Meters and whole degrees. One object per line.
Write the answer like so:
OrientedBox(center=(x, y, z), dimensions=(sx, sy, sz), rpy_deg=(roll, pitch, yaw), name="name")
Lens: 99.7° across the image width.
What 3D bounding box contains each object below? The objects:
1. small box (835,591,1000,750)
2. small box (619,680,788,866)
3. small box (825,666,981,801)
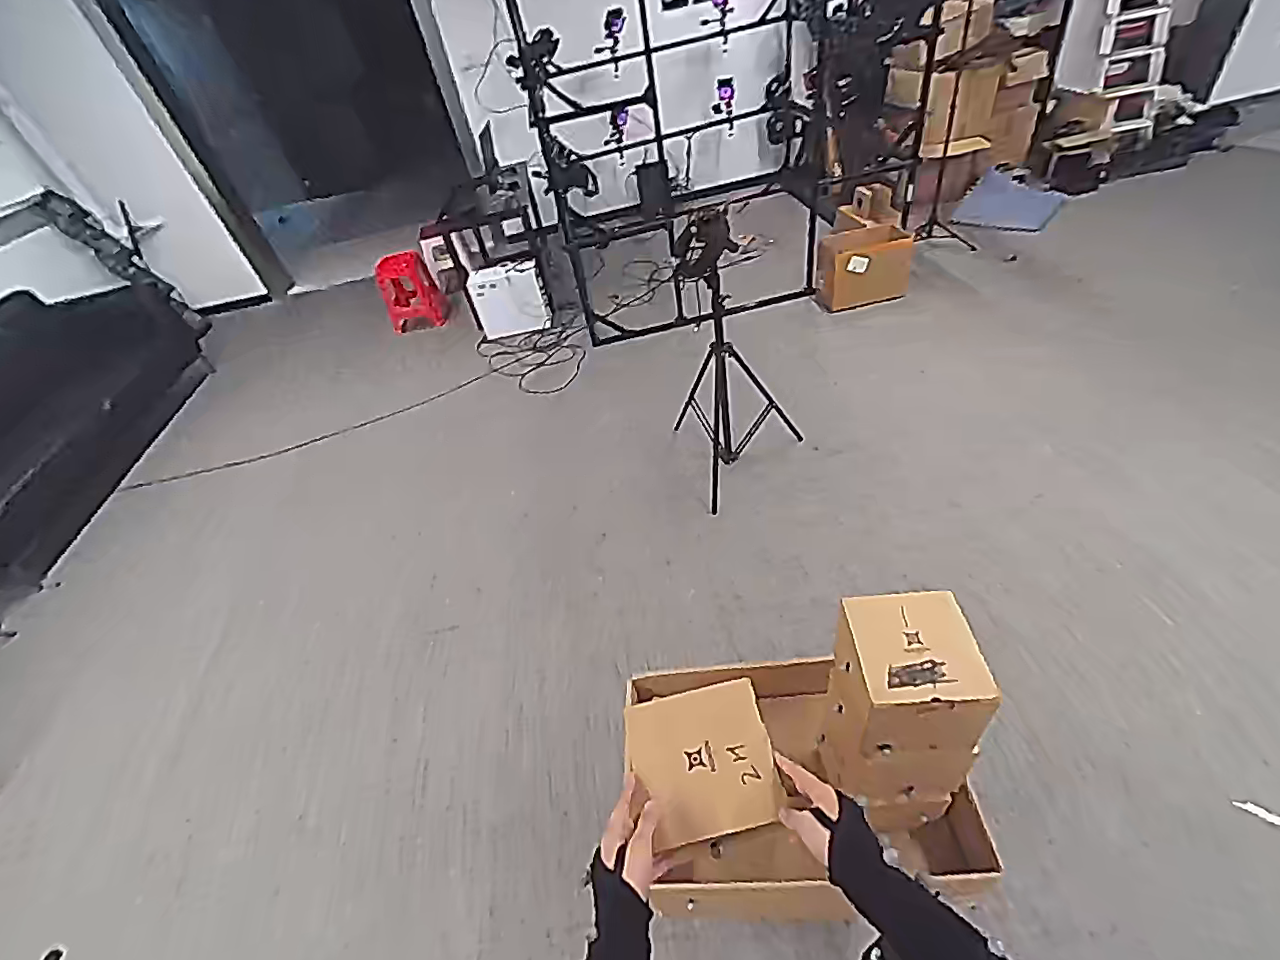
OrientedBox(center=(0.401, 0.292, 0.817), dimensions=(0.168, 0.176, 0.179), rpy_deg=(-6, 41, 8), name="small box")
OrientedBox(center=(0.082, 0.391, 0.716), dimensions=(0.179, 0.176, 0.168), rpy_deg=(-13, 50, -1), name="small box")
OrientedBox(center=(0.429, 0.423, 0.915), dimensions=(0.179, 0.176, 0.168), rpy_deg=(-8, 42, 4), name="small box")
